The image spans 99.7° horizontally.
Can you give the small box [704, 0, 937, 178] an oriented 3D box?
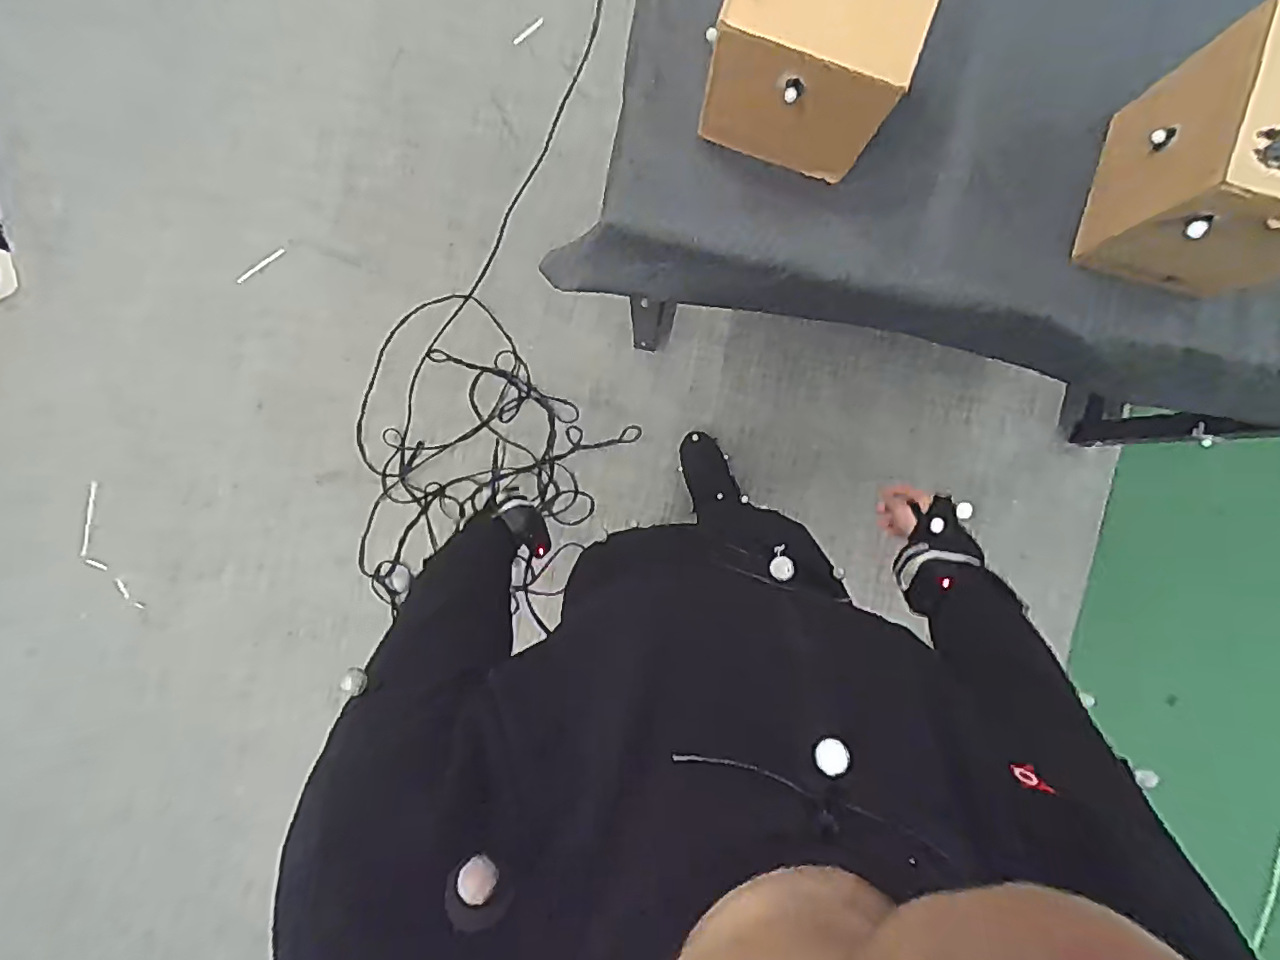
[{"bbox_3d":[0.174,-0.442,0.544,0.179,0.176,0.168,19,92,-1],"label":"small box"}]
